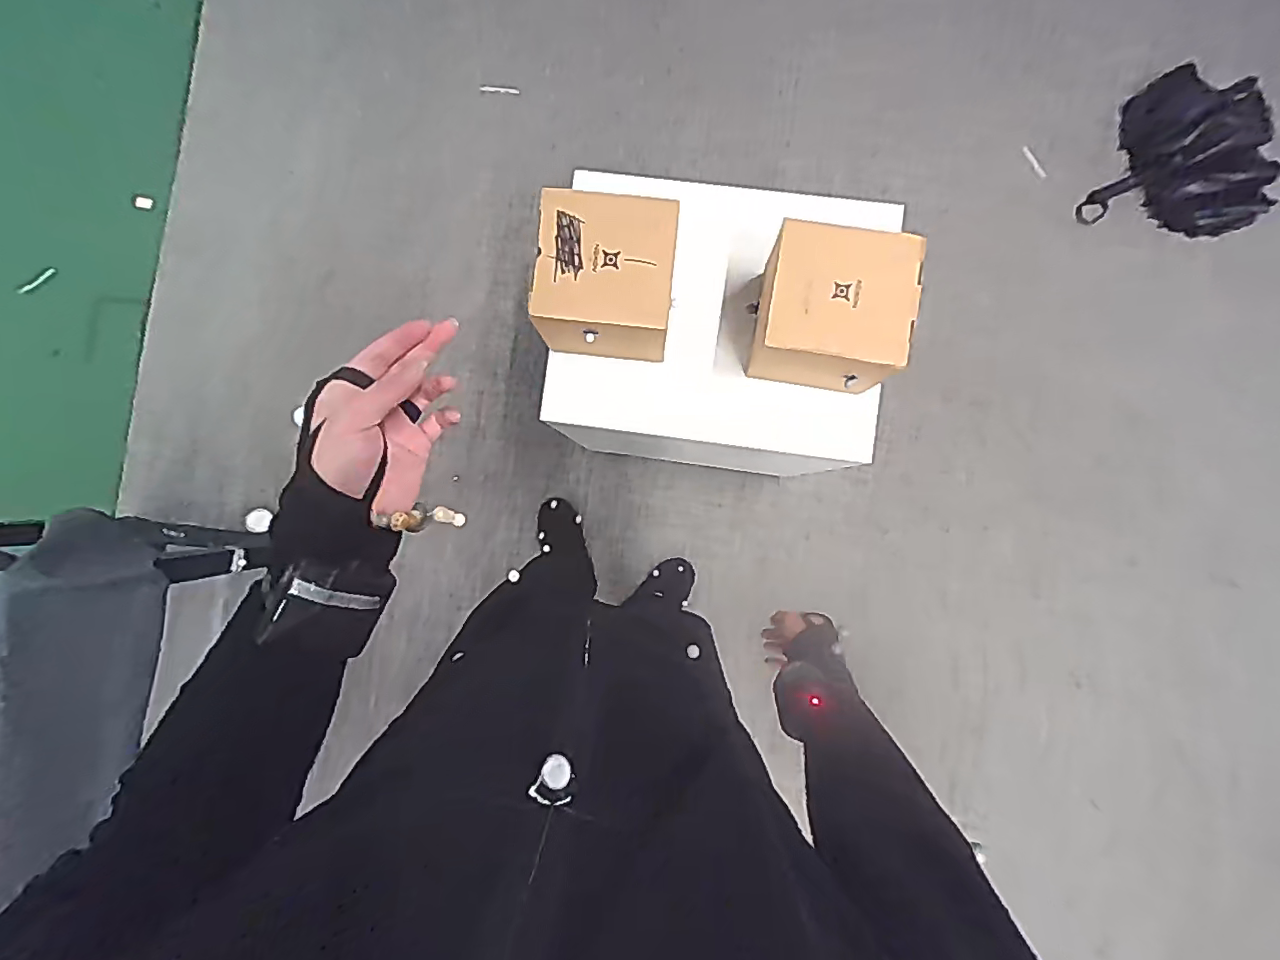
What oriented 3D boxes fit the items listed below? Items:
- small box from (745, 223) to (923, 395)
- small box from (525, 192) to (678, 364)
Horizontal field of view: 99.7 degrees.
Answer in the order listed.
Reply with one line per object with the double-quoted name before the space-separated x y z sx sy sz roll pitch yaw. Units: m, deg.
"small box" 0.249 -0.219 0.733 0.179 0.176 0.168 8 87 5
"small box" -0.046 -0.265 0.746 0.179 0.176 0.168 6 88 1
